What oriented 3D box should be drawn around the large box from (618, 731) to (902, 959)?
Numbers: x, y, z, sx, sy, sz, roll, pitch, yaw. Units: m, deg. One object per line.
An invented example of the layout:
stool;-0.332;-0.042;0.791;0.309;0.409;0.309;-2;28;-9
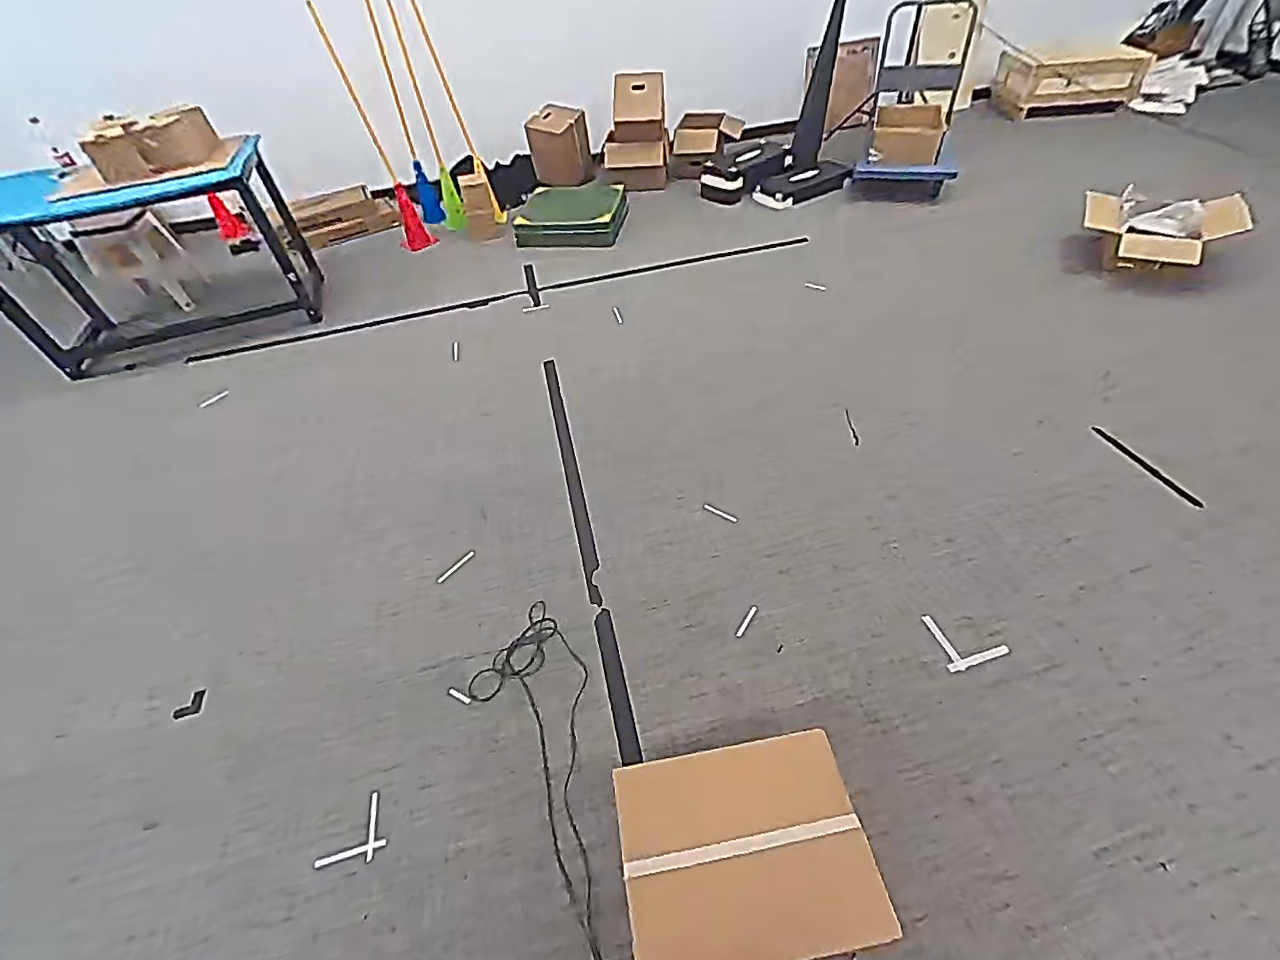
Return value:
large box;0.191;0.717;1.010;0.408;0.320;0.320;-10;45;-3
